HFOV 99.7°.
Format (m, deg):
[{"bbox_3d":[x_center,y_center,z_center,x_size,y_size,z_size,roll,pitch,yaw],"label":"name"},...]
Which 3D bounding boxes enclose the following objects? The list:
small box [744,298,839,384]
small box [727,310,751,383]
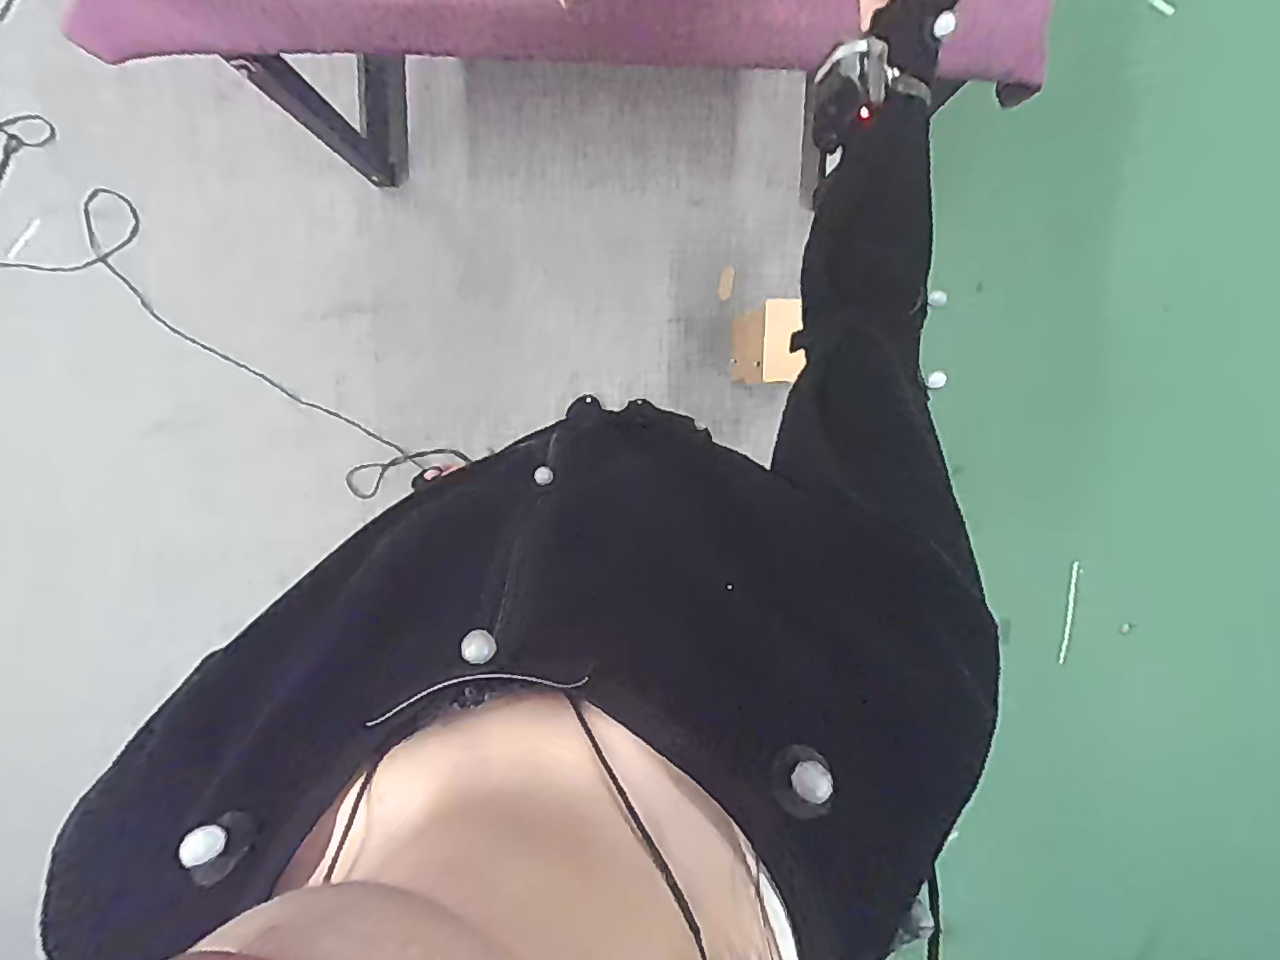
[{"bbox_3d":[0.336,-0.309,1.232,0.168,0.176,0.179,0,100,-2],"label":"small box"},{"bbox_3d":[0.326,-0.336,1.392,0.179,0.176,0.168,2,99,-3],"label":"small box"}]
